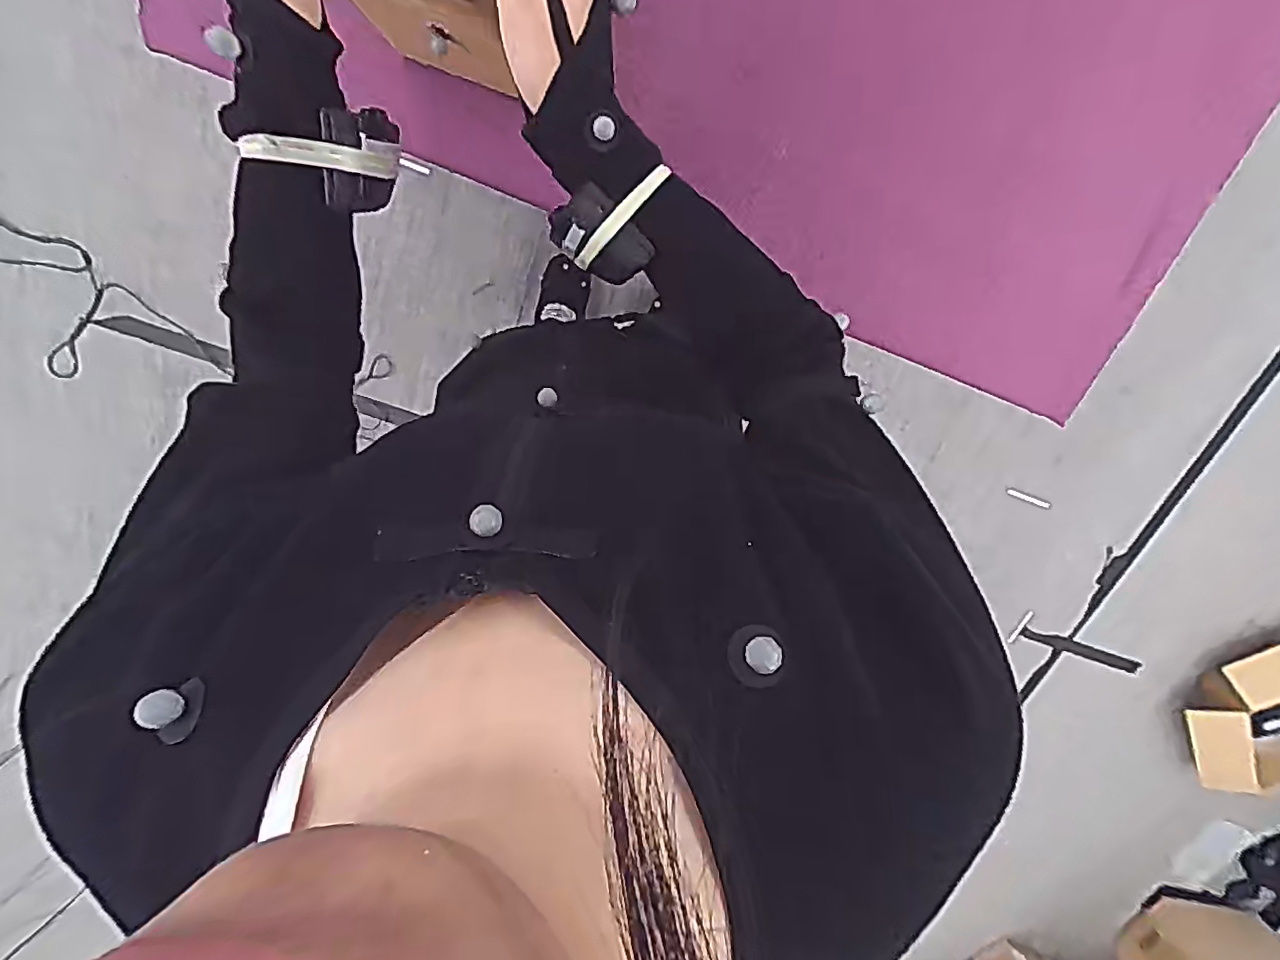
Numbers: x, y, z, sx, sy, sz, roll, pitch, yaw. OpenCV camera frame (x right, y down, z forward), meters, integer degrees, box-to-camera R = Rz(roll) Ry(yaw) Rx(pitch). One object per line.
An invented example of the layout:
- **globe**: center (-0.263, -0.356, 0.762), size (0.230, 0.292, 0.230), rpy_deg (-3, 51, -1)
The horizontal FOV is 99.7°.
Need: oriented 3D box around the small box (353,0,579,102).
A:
- **small box**: center (-0.145, -0.478, 0.490), size (0.179, 0.176, 0.168), rpy_deg (16, 109, -9)
